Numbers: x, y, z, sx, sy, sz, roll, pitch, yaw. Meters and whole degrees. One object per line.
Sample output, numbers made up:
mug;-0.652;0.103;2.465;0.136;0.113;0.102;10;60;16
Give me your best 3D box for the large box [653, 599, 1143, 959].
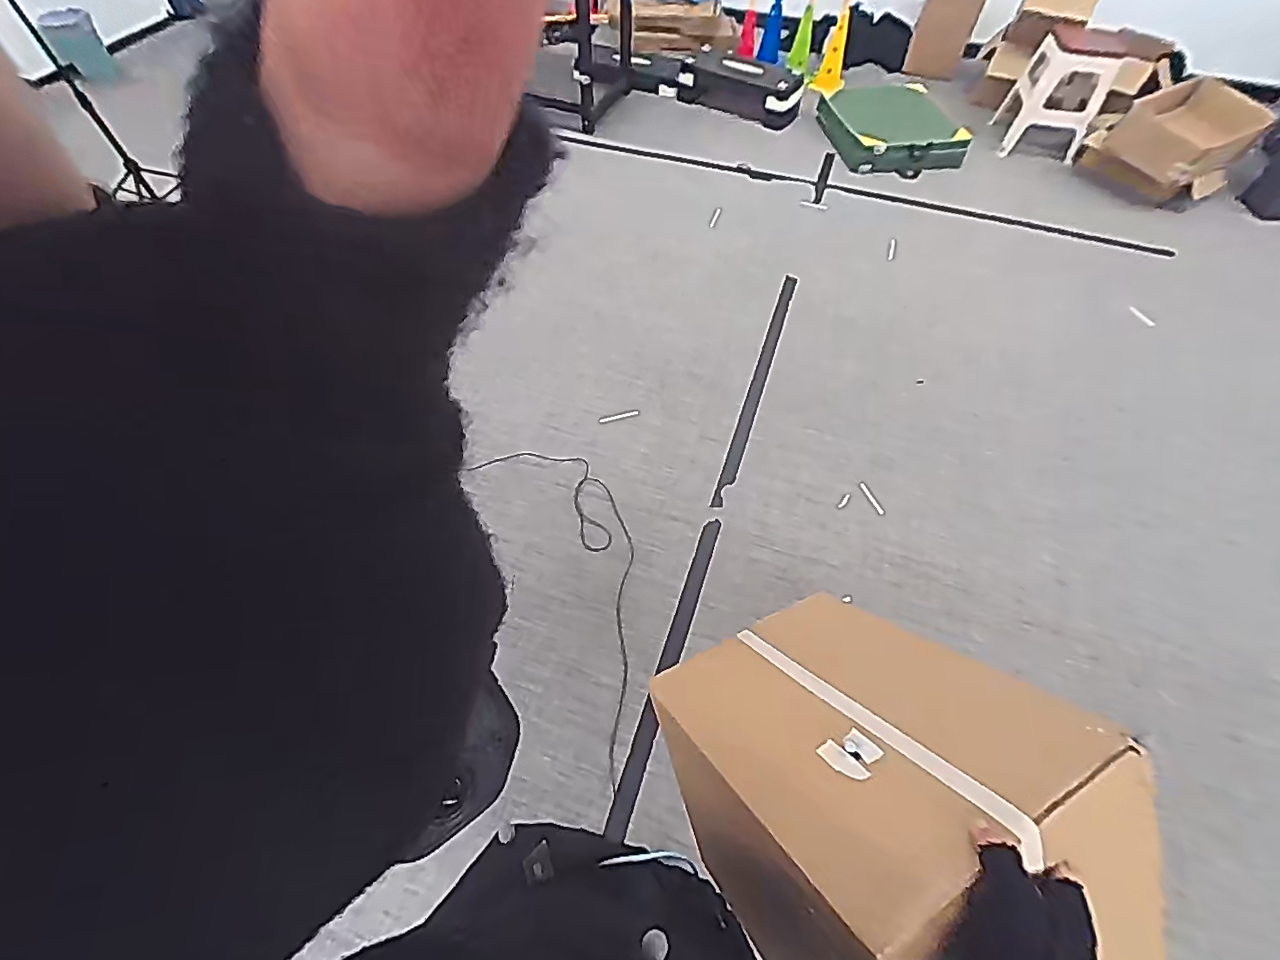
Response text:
large box;0.263;0.395;0.639;0.320;0.320;0.408;-21;15;-19
